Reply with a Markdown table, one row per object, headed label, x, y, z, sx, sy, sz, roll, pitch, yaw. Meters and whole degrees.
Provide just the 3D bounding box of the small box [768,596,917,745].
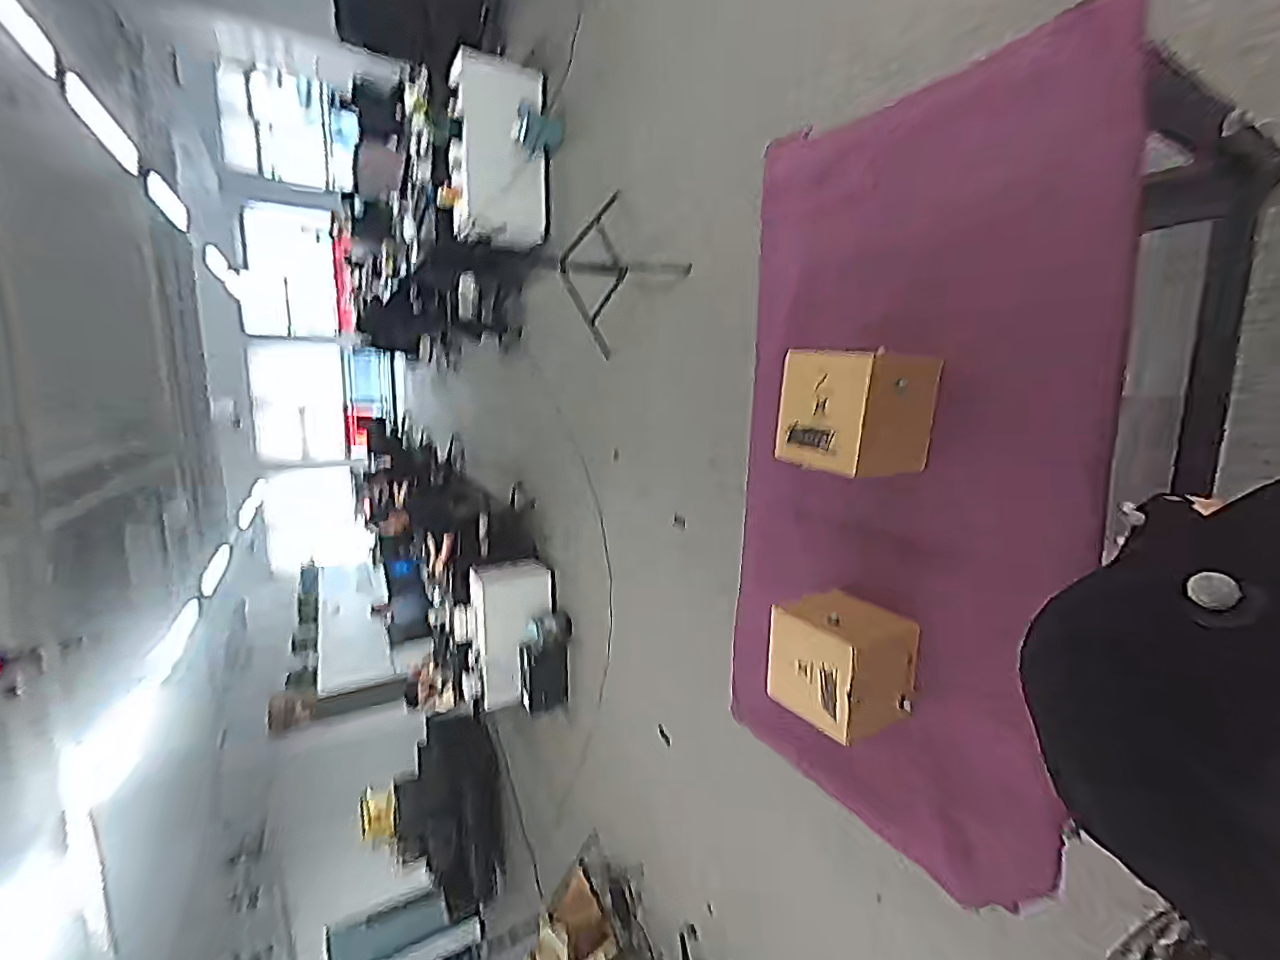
| label | x | y | z | sx | sy | sz | roll | pitch | yaw |
| --- | --- | --- | --- | --- | --- | --- | --- | --- | --- |
| small box | 0.345 | 0.311 | 0.928 | 0.179 | 0.176 | 0.168 | 16 | 108 | 58 |
